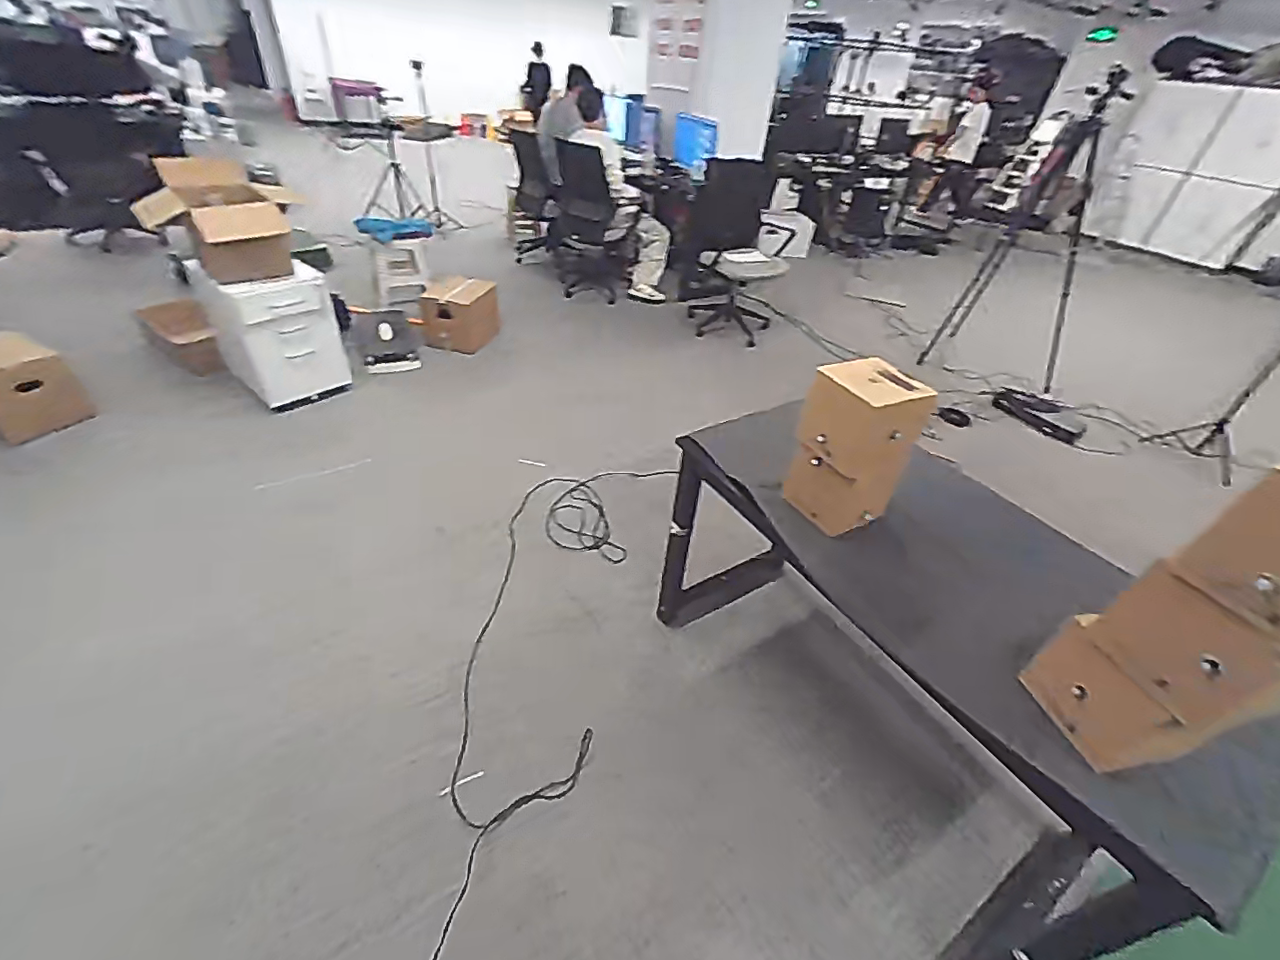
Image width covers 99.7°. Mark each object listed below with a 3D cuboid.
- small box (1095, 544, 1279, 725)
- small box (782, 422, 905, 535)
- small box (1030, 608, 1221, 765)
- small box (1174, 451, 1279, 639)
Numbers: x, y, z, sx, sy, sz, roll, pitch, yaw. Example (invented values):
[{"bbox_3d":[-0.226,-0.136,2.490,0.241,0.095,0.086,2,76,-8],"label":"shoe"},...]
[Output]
[{"bbox_3d":[0.767,0.197,0.718,0.179,0.176,0.168,-5,40,-17],"label":"small box"},{"bbox_3d":[0.447,-0.004,1.215,0.179,0.176,0.168,-17,43,-28],"label":"small box"},{"bbox_3d":[0.751,0.313,0.832,0.179,0.176,0.168,-2,38,-13],"label":"small box"},{"bbox_3d":[0.780,0.072,0.611,0.179,0.176,0.168,-11,40,-21],"label":"small box"}]
